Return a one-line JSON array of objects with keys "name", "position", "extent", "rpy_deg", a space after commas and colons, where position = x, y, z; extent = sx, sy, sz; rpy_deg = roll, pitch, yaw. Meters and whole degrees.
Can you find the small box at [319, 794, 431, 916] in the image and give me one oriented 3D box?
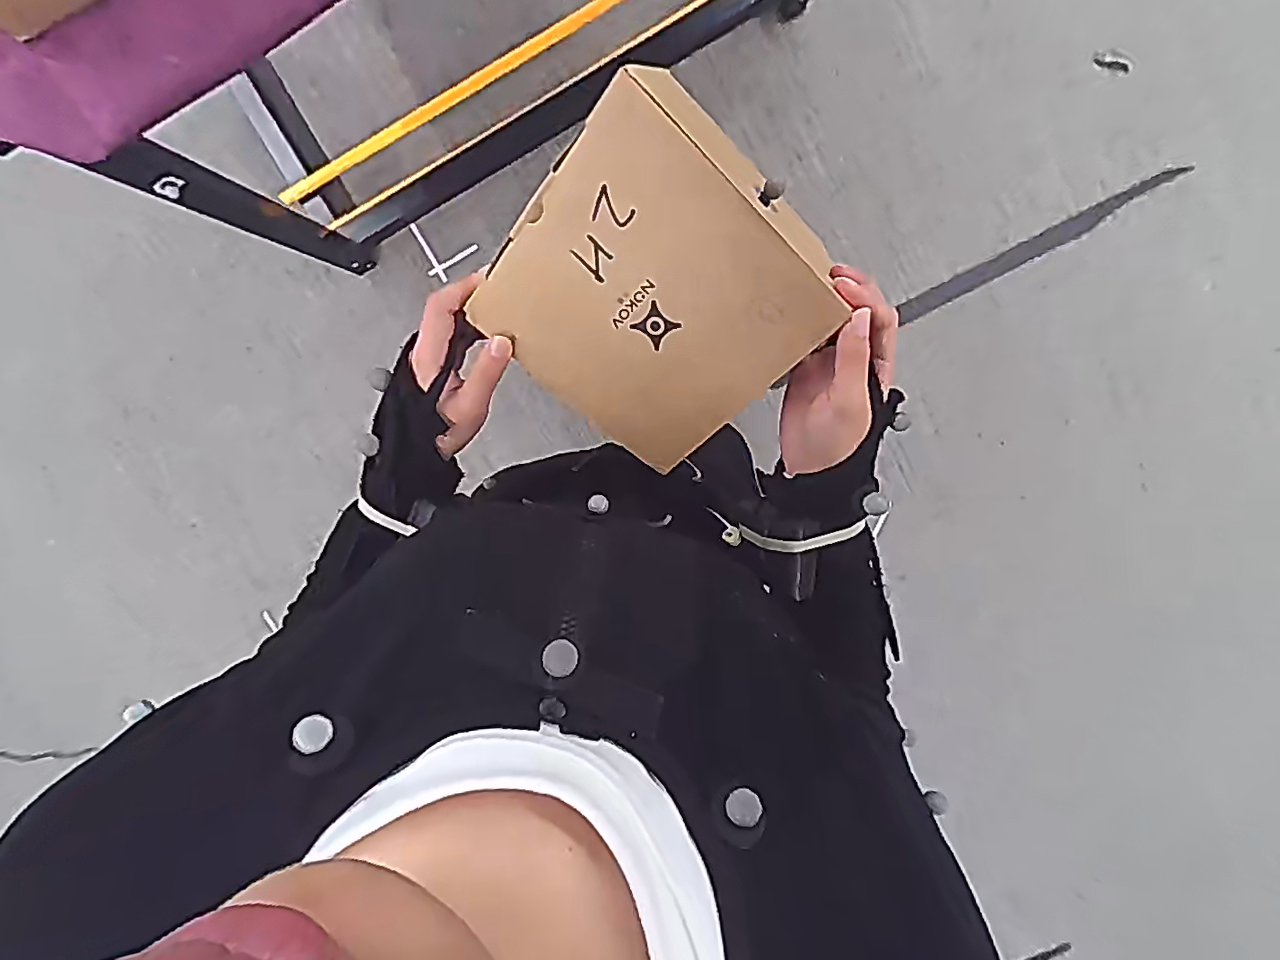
[{"name": "small box", "position": [-0.697, 0.993, 1.444], "extent": [0.179, 0.176, 0.168], "rpy_deg": [-32, 98, 5]}]
